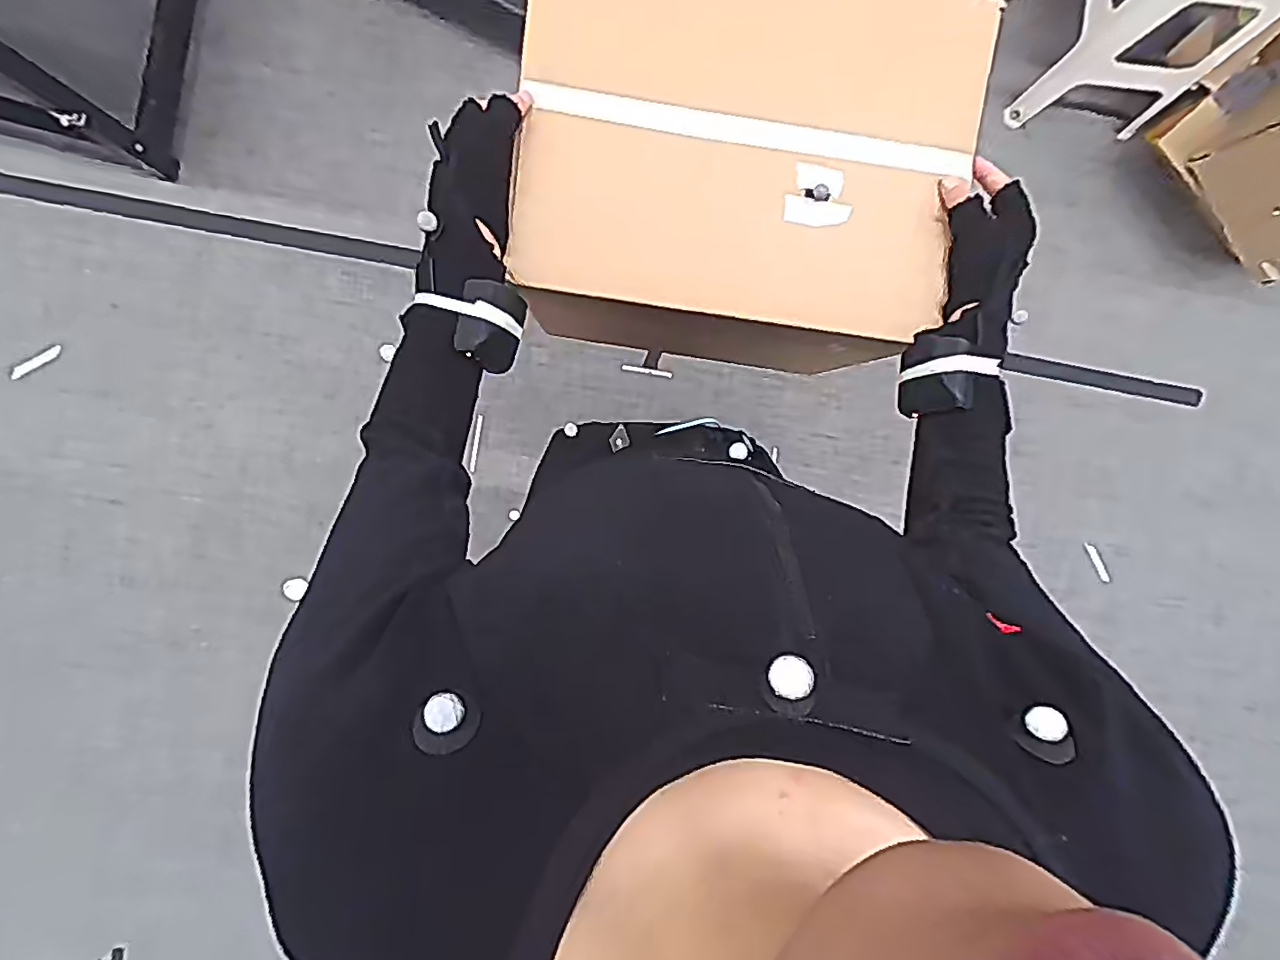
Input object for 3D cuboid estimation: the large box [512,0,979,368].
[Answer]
[{"bbox_3d":[0.085,-0.324,0.640,0.408,0.320,0.320,8,97,-4],"label":"large box"}]
